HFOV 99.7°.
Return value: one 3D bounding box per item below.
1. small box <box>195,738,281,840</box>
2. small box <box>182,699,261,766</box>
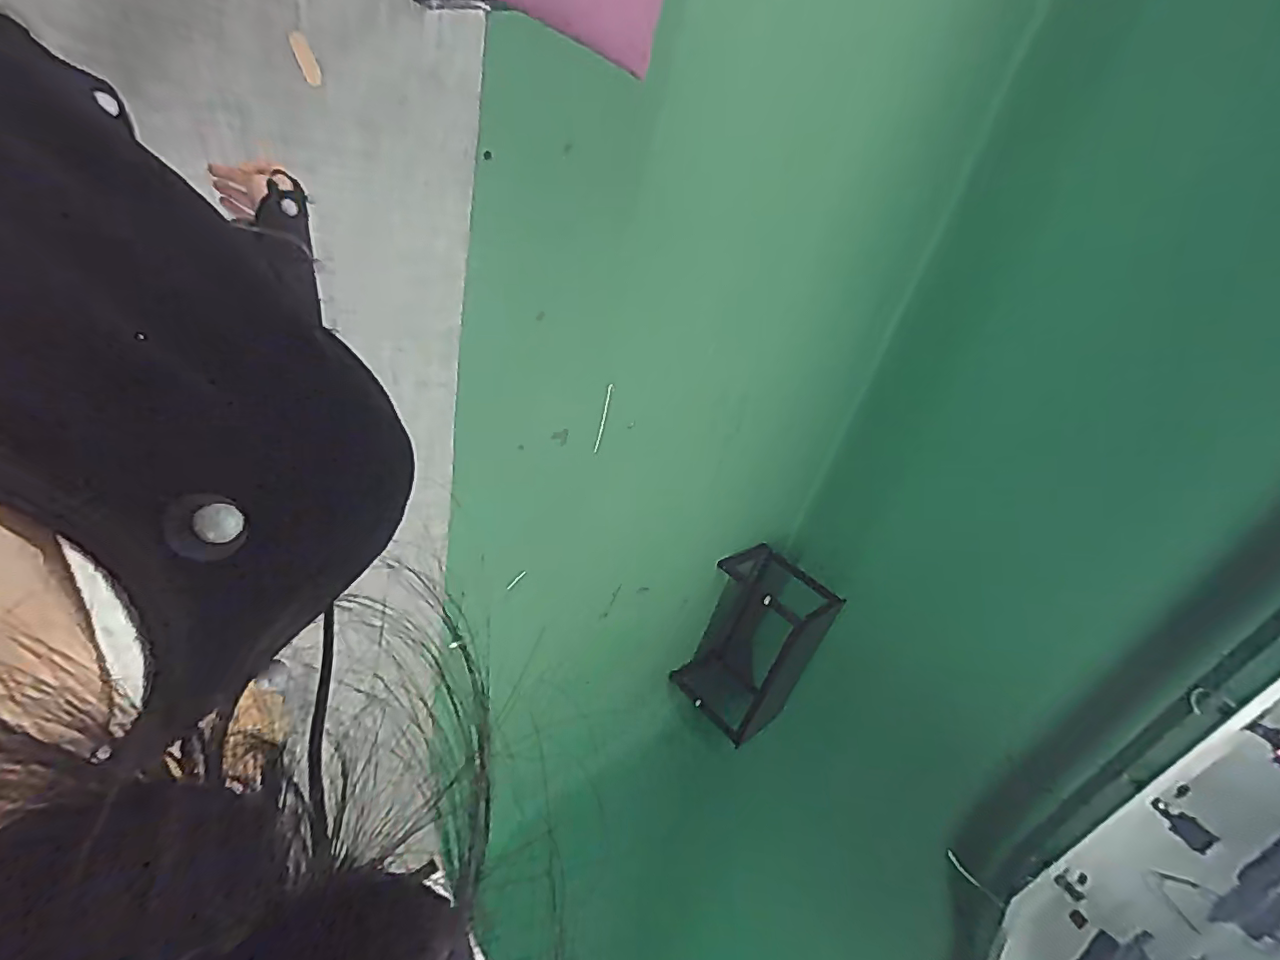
[{"bbox_3d":[-1.191,0.903,1.602,0.168,0.176,0.179,-16,132,-41],"label":"small box"},{"bbox_3d":[-1.300,0.815,1.690,0.168,0.176,0.179,-17,133,-41],"label":"small box"}]
